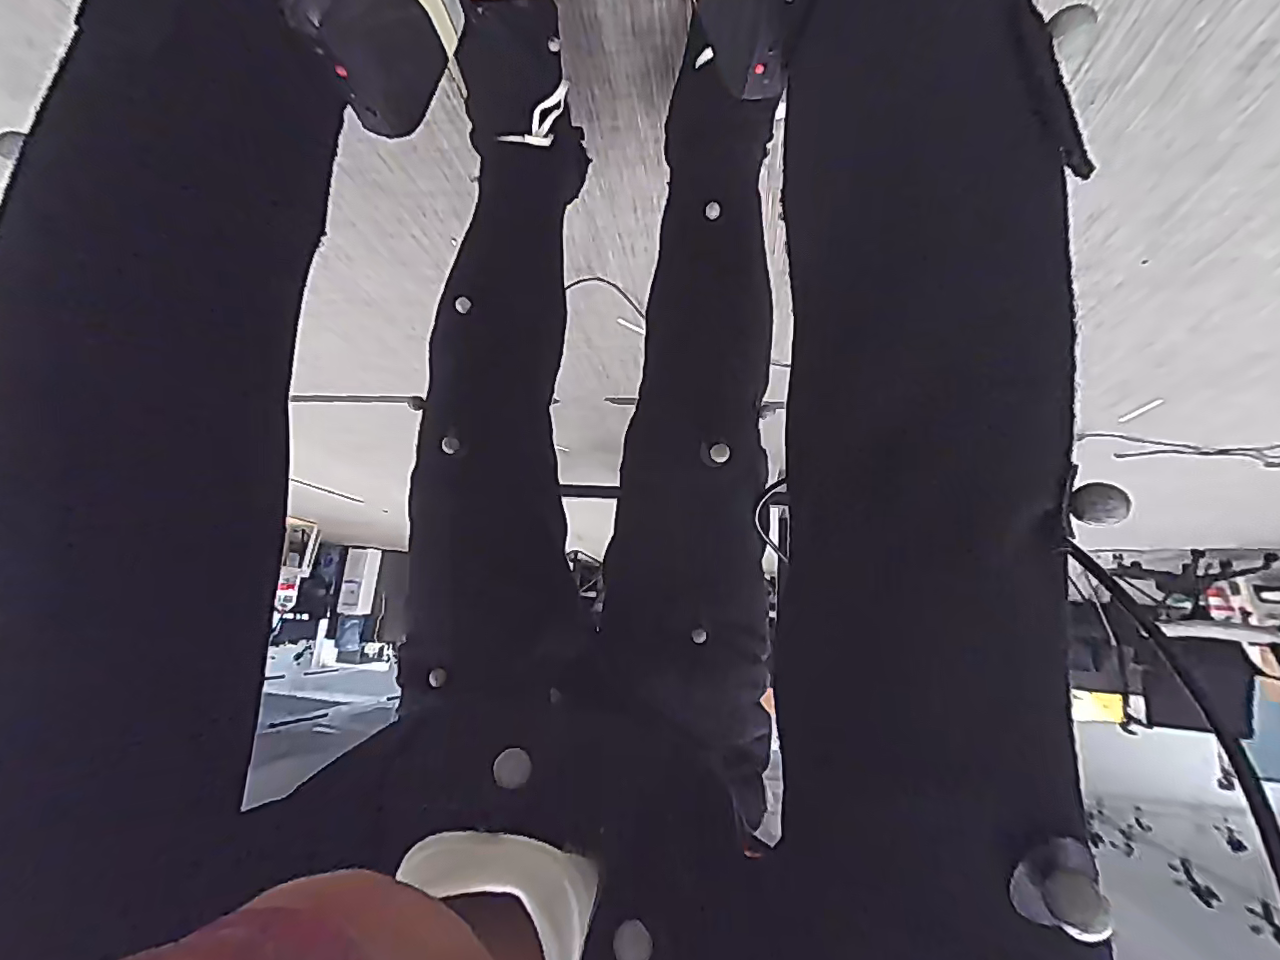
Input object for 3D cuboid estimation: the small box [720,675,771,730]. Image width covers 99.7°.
[{"bbox_3d":[0.393,0.823,2.016,0.168,0.176,0.179,3,164,2],"label":"small box"}]
